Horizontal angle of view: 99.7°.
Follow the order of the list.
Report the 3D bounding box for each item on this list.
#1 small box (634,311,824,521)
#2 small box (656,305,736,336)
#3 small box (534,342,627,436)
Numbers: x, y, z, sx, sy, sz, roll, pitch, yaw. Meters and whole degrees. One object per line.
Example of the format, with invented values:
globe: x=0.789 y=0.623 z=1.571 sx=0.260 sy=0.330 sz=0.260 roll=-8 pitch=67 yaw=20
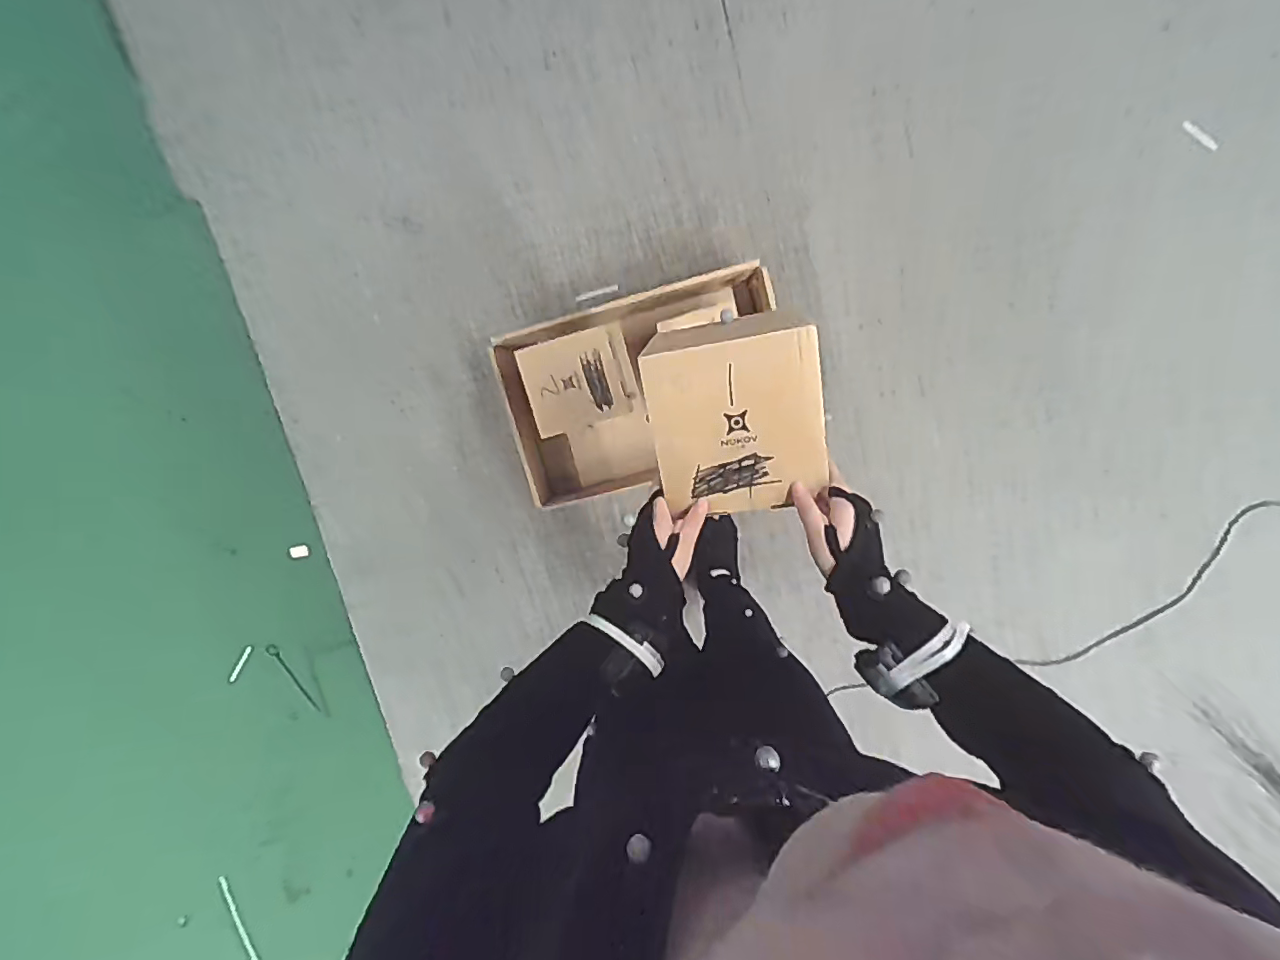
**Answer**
small box: x=0.099 y=-0.076 z=0.592 sx=0.168 sy=0.176 sz=0.179 roll=-8 pitch=111 yaw=11
small box: x=0.137 y=-0.273 z=1.206 sx=0.168 sy=0.176 sz=0.179 roll=-15 pitch=98 yaw=4
small box: x=-0.127 y=-0.204 z=1.227 sx=0.168 sy=0.176 sz=0.179 roll=-11 pitch=97 yaw=3
